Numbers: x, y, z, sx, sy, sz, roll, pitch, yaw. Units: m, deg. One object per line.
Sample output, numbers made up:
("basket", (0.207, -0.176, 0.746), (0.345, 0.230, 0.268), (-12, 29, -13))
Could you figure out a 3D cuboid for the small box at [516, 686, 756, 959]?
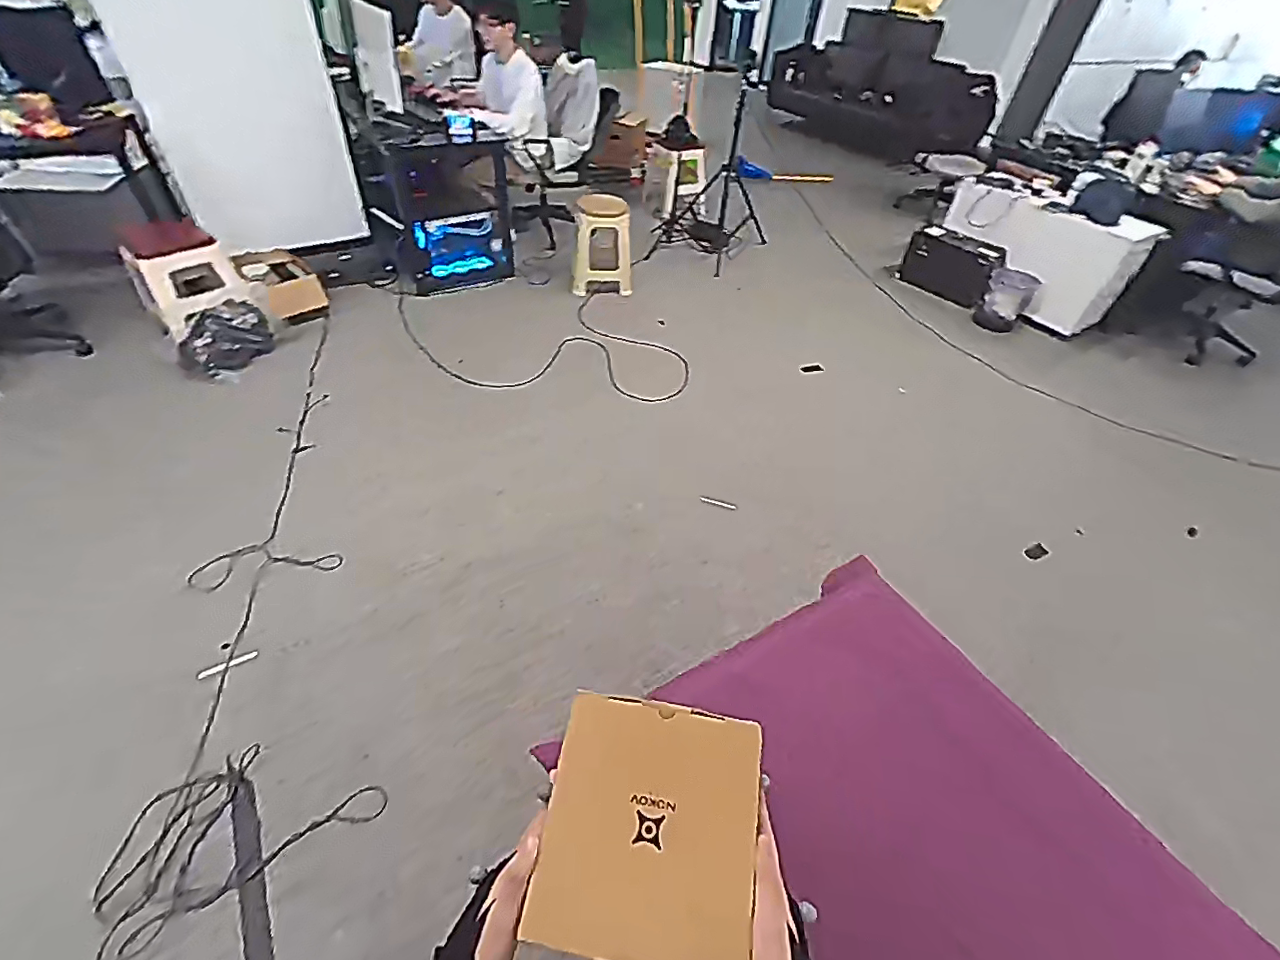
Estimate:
("small box", (0.005, 0.307, 0.486), (0.168, 0.176, 0.179), (8, 55, 5))
